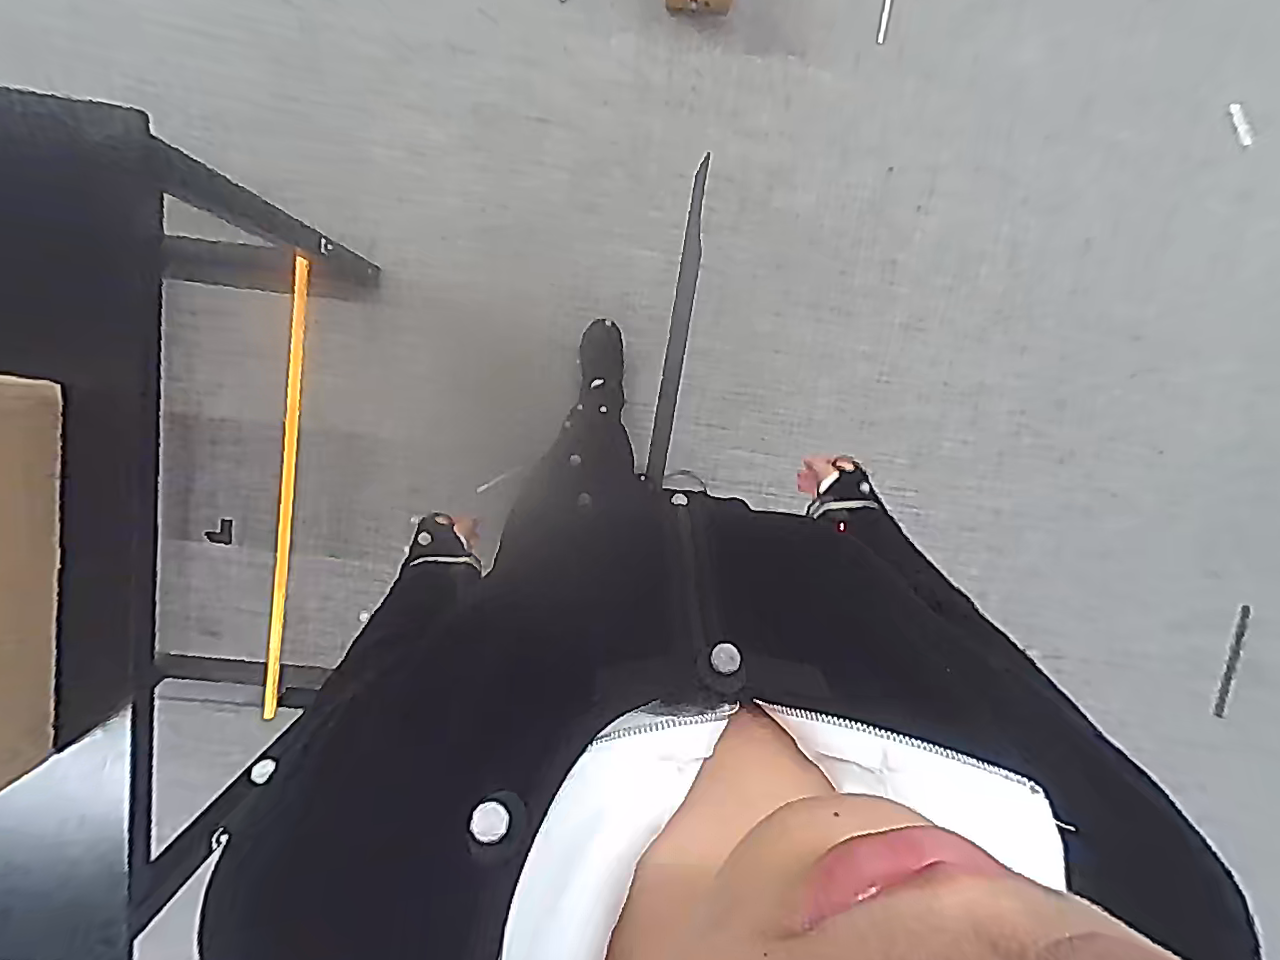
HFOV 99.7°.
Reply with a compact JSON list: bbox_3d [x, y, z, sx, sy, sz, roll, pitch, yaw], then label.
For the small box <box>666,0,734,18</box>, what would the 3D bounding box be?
[{"bbox_3d":[0.150,-1.225,1.247,0.168,0.176,0.179,2,99,-2],"label":"small box"}]
